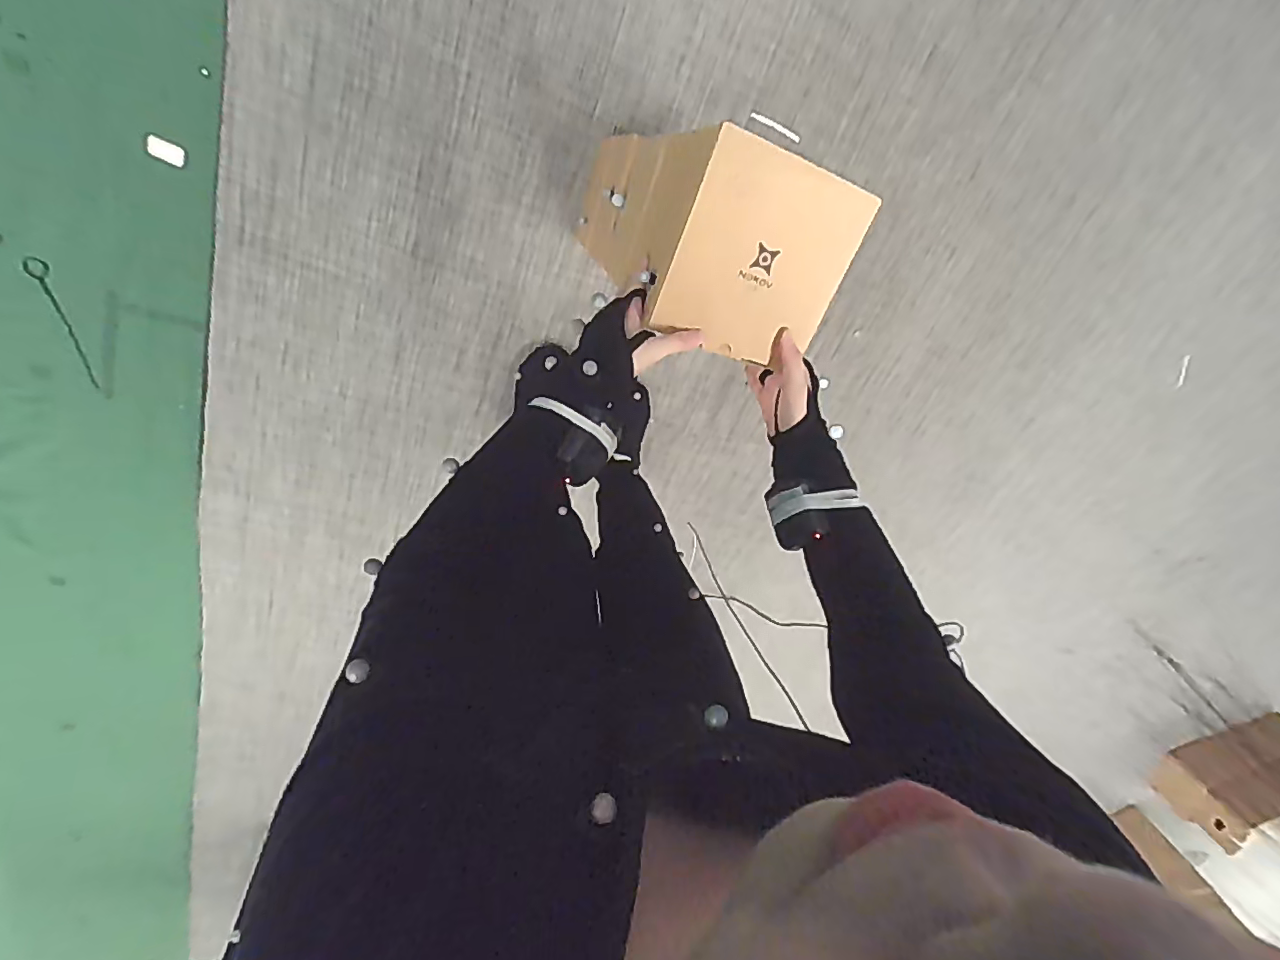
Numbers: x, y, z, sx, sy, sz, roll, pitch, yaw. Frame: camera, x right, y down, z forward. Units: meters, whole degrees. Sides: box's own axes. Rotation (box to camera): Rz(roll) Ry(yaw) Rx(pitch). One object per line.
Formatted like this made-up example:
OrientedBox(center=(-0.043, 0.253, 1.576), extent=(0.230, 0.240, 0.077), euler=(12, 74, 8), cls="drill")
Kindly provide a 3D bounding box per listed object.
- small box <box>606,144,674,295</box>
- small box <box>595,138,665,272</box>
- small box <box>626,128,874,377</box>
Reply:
OrientedBox(center=(0.067, -0.316, 0.704), extent=(0.179, 0.176, 0.168), euler=(12, 116, -18), cls="small box")
OrientedBox(center=(0.032, -0.402, 0.839), extent=(0.168, 0.176, 0.179), euler=(10, 117, -17), cls="small box")
OrientedBox(center=(0.095, -0.236, 0.565), extent=(0.168, 0.176, 0.179), euler=(13, 117, -19), cls="small box")
